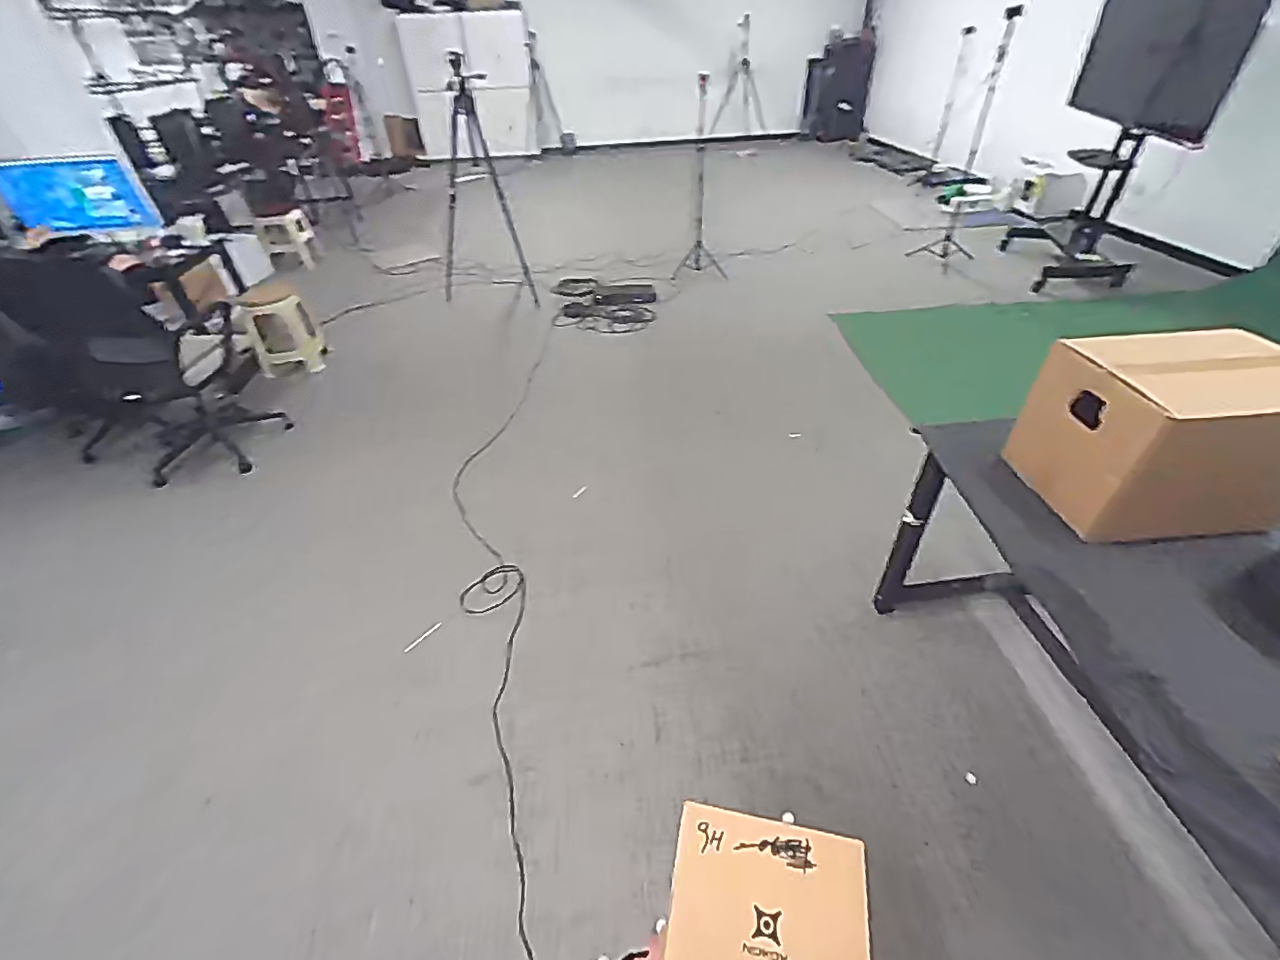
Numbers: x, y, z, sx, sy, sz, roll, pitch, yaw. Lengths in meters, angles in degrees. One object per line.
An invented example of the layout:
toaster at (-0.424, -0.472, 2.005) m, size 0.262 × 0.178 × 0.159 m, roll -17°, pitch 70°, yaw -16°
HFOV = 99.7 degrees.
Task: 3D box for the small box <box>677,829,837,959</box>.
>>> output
small box at (0.134, 0.544, 0.631) m, size 0.168 × 0.176 × 0.179 m, roll 3°, pitch 44°, yaw 11°
